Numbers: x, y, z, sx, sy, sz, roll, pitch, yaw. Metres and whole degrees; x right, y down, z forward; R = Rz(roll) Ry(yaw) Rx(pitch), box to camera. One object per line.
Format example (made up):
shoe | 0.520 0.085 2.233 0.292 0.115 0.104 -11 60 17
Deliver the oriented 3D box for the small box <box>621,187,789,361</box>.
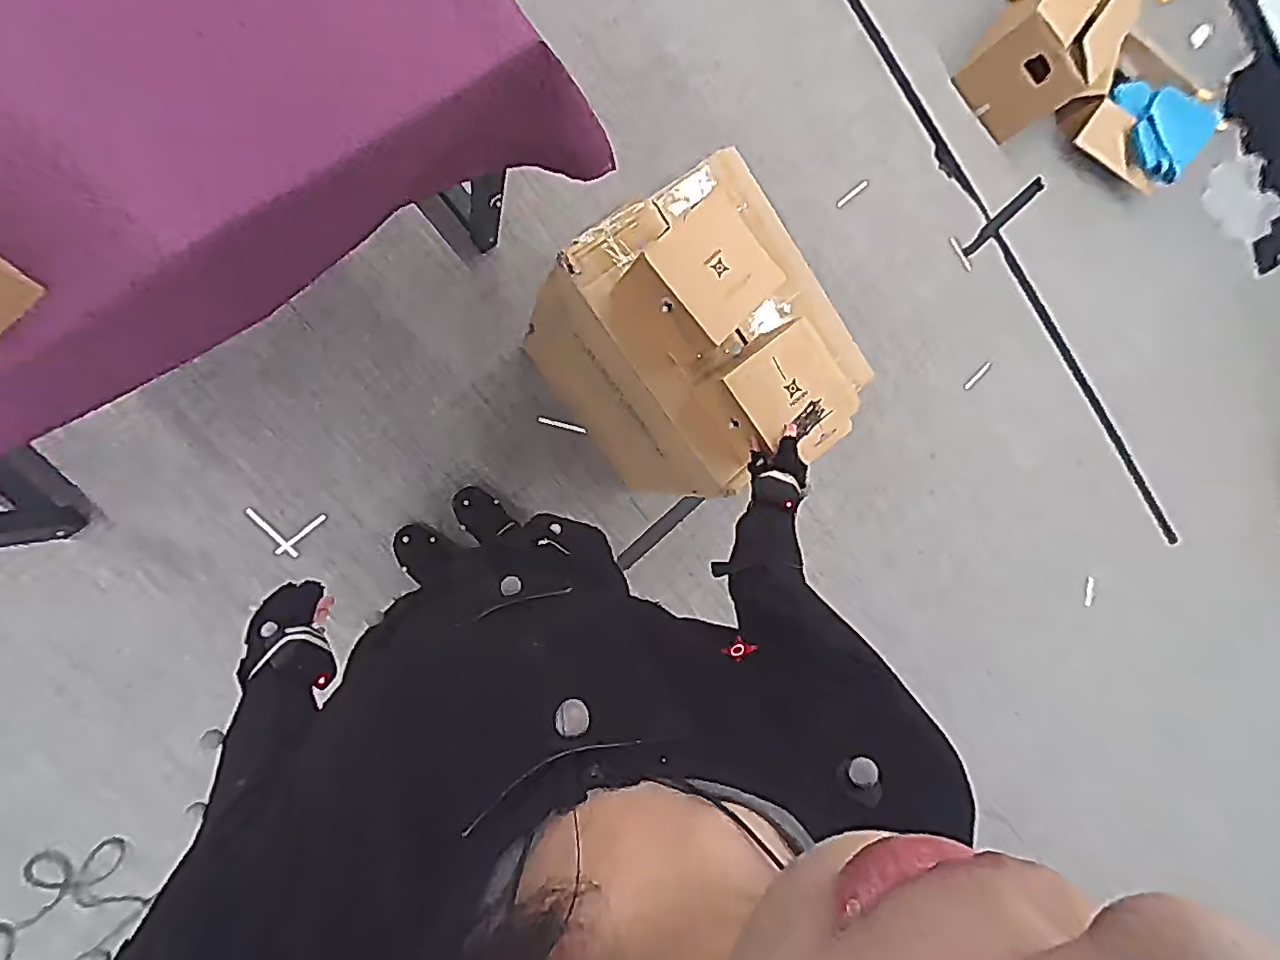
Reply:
small box | 0.094 -0.317 0.870 0.168 0.176 0.179 -45 103 -11

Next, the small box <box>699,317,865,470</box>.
small box | 0.224 -0.138 0.897 0.168 0.176 0.179 -38 99 -5

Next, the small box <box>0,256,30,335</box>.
small box | -0.738 -0.198 0.488 0.168 0.176 0.179 41 77 -12
